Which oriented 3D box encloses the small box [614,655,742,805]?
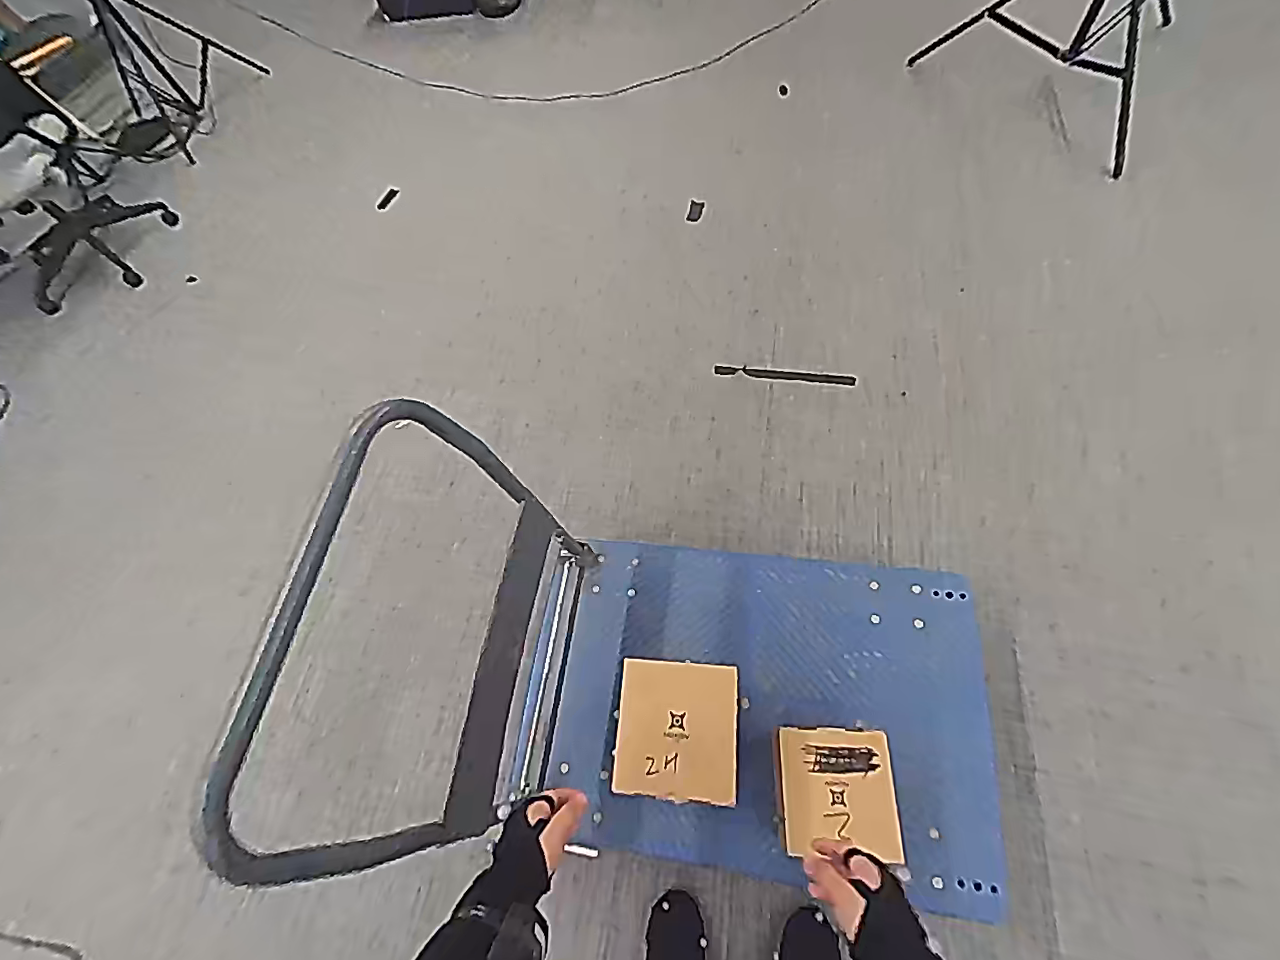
[{"bbox_3d":[0.064,0.371,0.811,0.168,0.176,0.179,1,65,10],"label":"small box"}]
